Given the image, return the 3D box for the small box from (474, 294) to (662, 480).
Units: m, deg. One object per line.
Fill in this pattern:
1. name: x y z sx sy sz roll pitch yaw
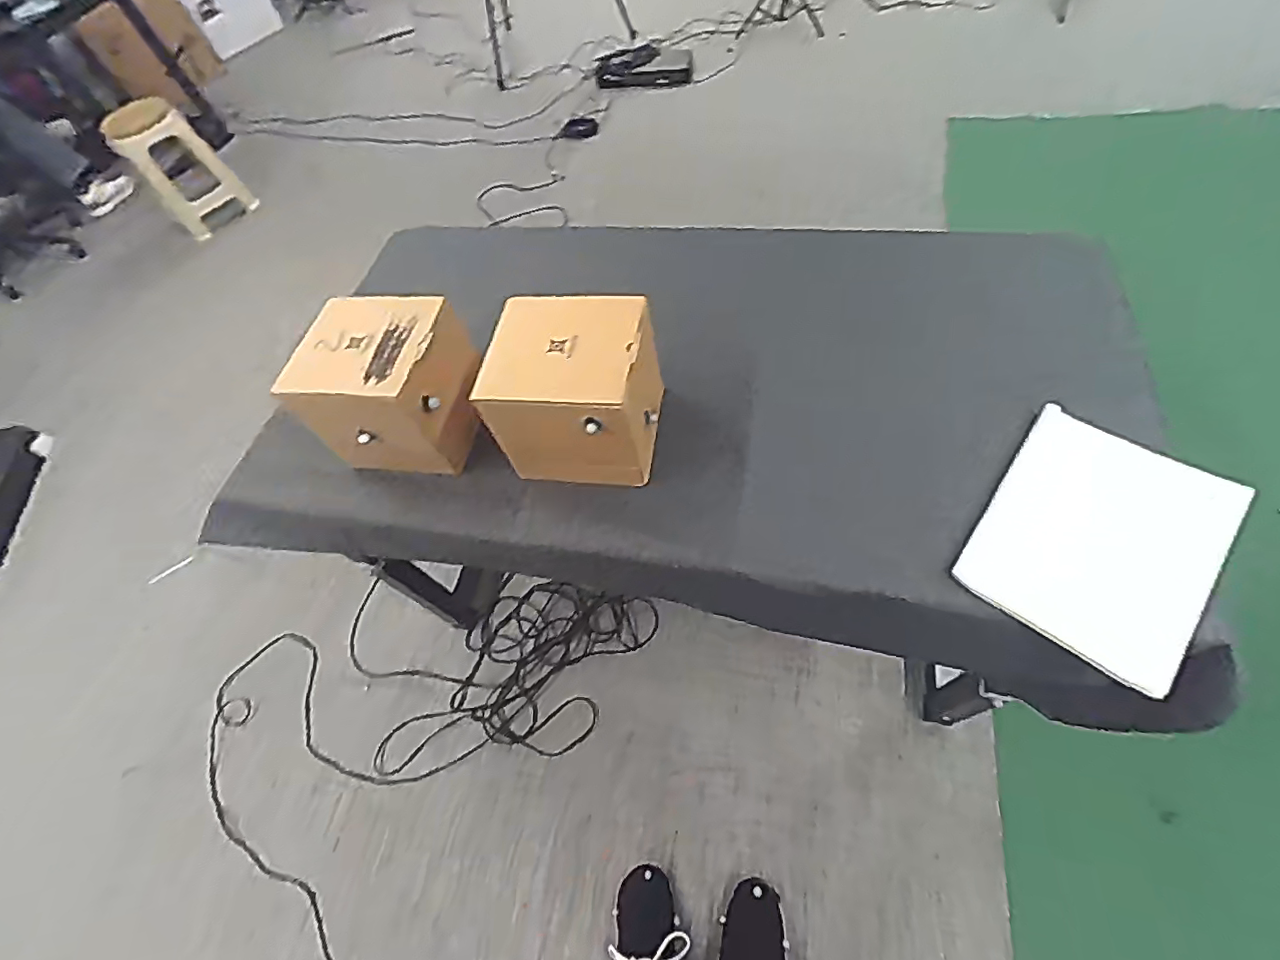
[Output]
1. small box: -0.076 -0.112 0.683 0.179 0.176 0.168 3 60 11
